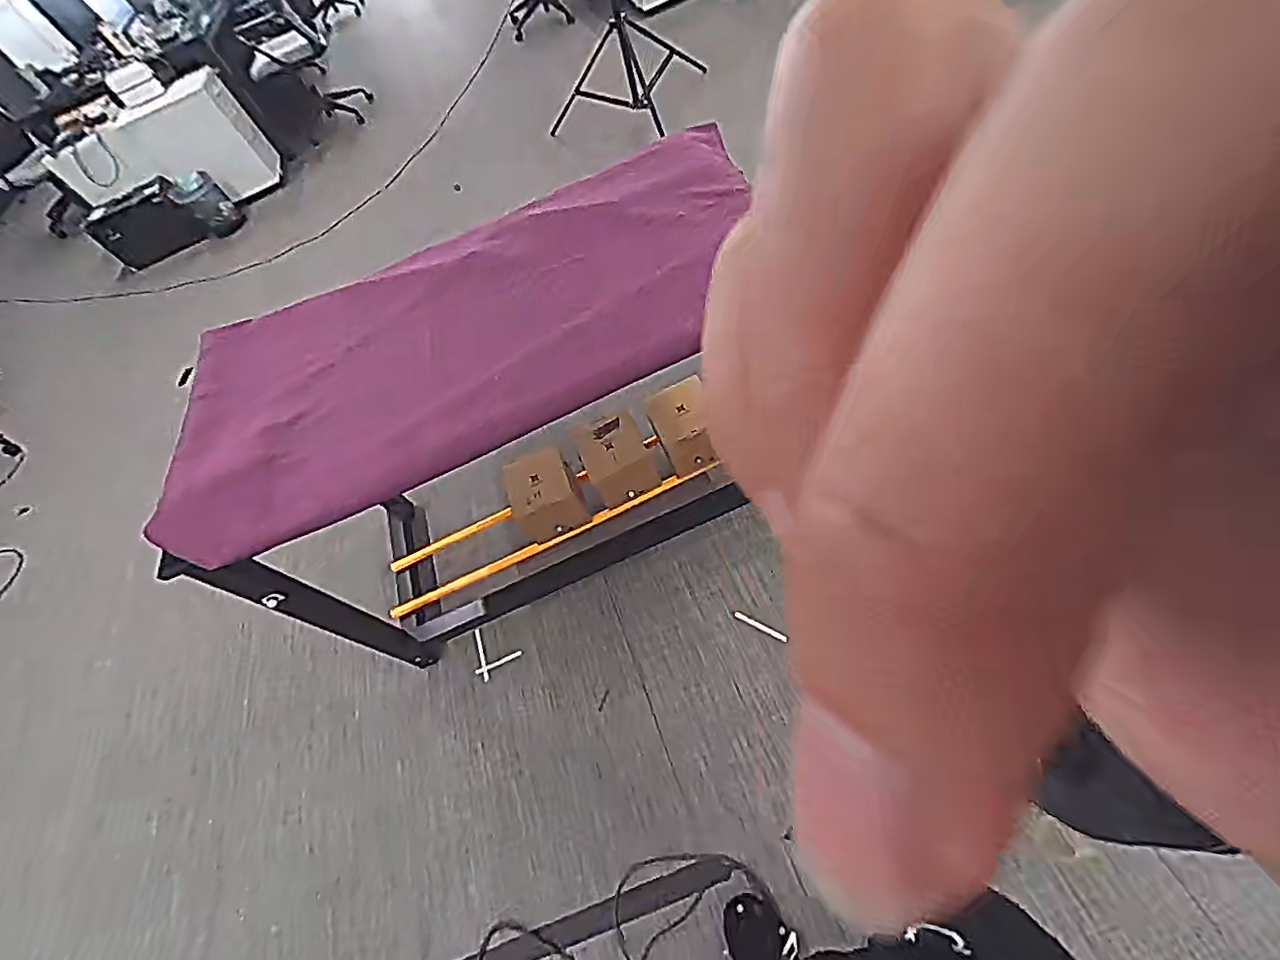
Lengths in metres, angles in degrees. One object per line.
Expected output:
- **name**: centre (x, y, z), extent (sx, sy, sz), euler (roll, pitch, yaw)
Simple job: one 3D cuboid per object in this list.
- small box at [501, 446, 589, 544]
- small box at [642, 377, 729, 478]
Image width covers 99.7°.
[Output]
- **small box**: centre (-0.254, 0.044, 1.463), extent (0.168, 0.176, 0.179), euler (-24, 57, 1)
- **small box**: centre (0.125, -0.138, 1.458), extent (0.168, 0.176, 0.179), euler (-26, 57, 1)
